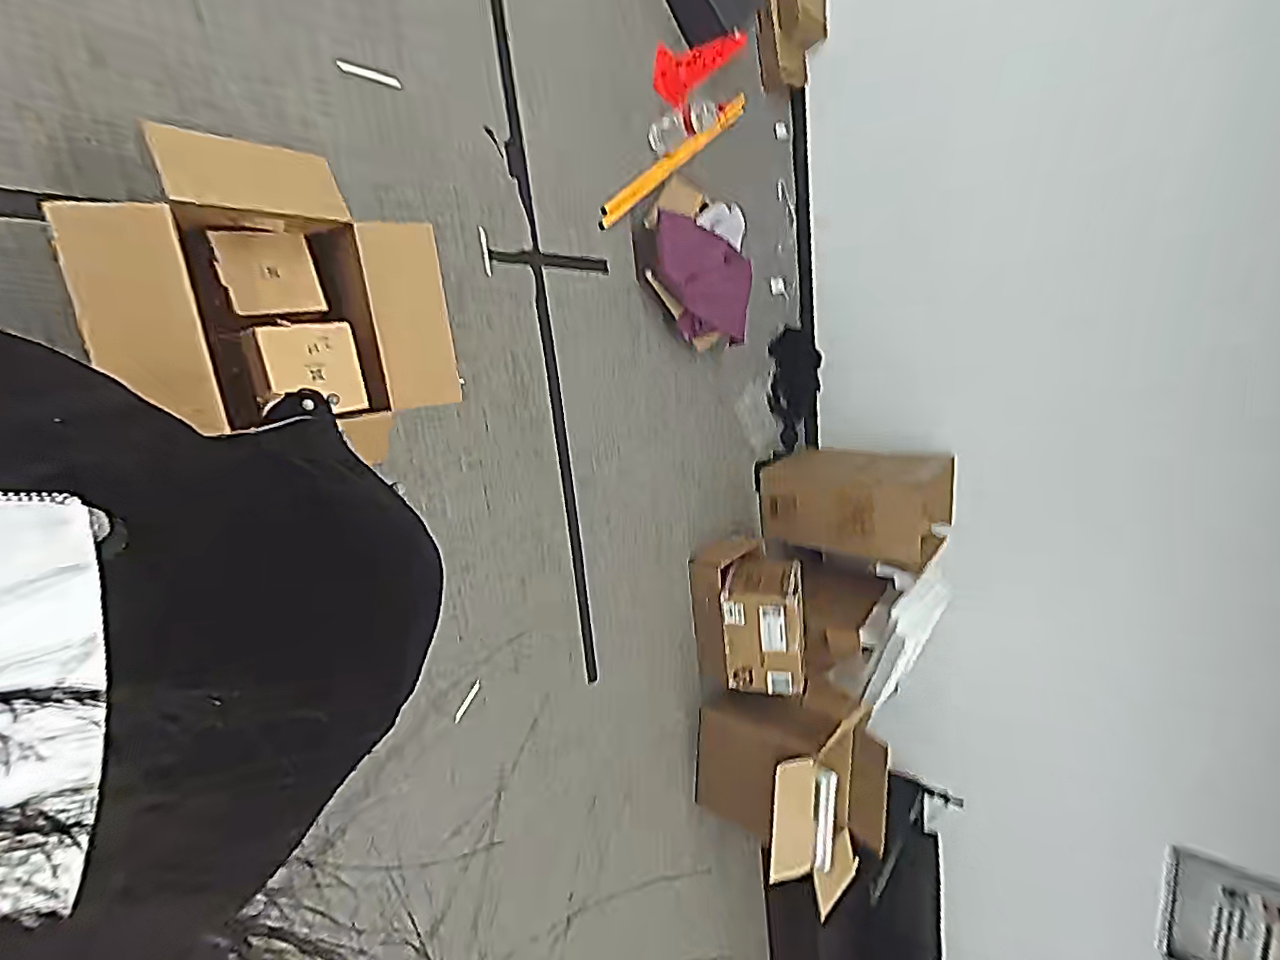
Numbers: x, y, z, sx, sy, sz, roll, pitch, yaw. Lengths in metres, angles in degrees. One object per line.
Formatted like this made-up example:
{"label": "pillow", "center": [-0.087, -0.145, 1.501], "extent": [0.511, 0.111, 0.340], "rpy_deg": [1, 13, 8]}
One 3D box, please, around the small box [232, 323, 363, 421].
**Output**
{"label": "small box", "center": [-0.701, -0.222, 1.108], "extent": [0.168, 0.176, 0.179], "rpy_deg": [-22, 111, -45]}
